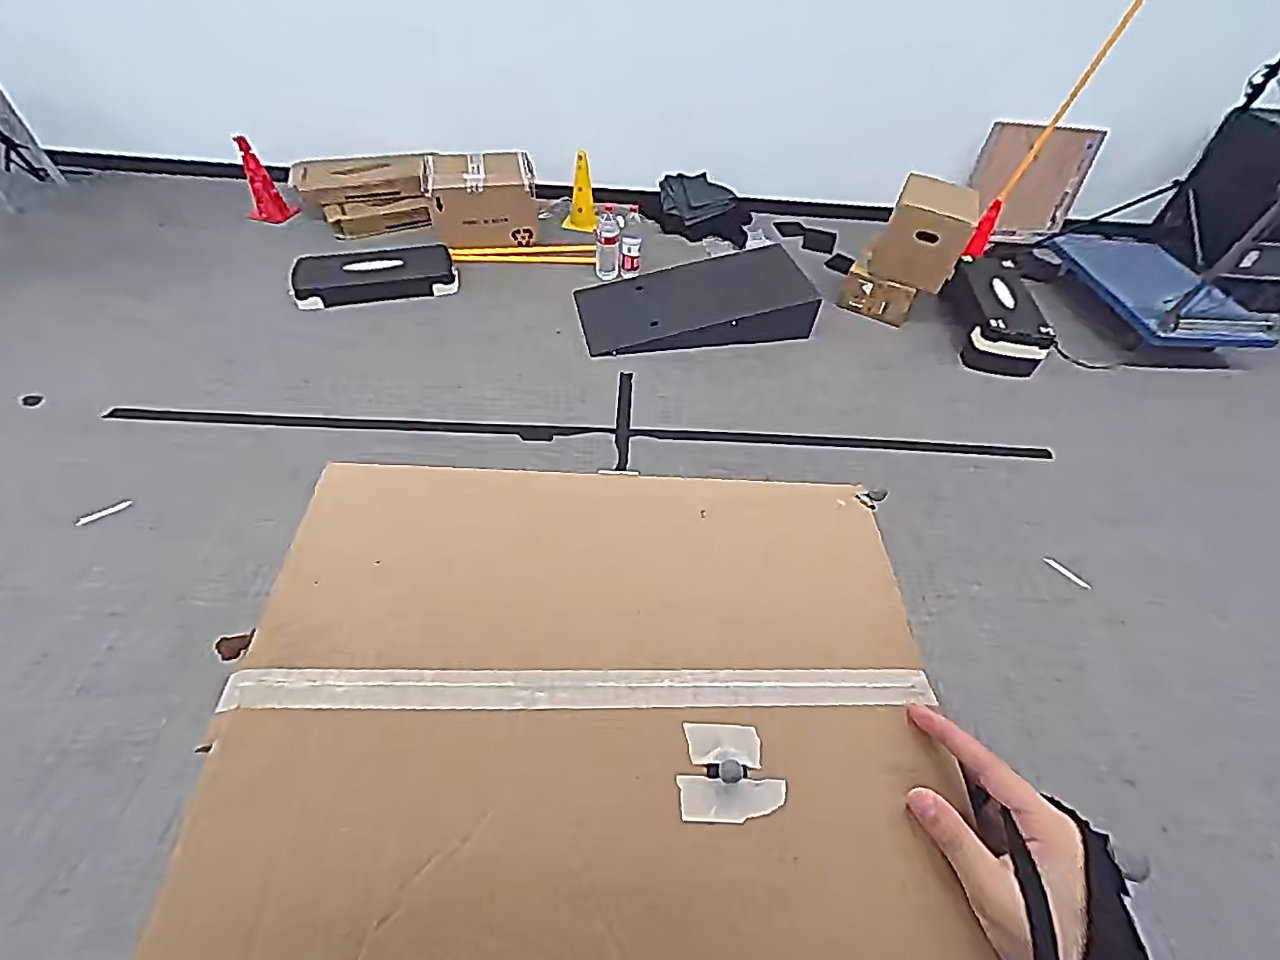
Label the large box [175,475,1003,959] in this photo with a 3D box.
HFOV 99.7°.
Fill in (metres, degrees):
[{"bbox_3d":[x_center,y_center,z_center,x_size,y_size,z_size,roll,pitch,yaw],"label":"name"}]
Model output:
[{"bbox_3d":[-0.035,0.214,0.451,0.408,0.320,0.320,3,55,-7],"label":"large box"}]
